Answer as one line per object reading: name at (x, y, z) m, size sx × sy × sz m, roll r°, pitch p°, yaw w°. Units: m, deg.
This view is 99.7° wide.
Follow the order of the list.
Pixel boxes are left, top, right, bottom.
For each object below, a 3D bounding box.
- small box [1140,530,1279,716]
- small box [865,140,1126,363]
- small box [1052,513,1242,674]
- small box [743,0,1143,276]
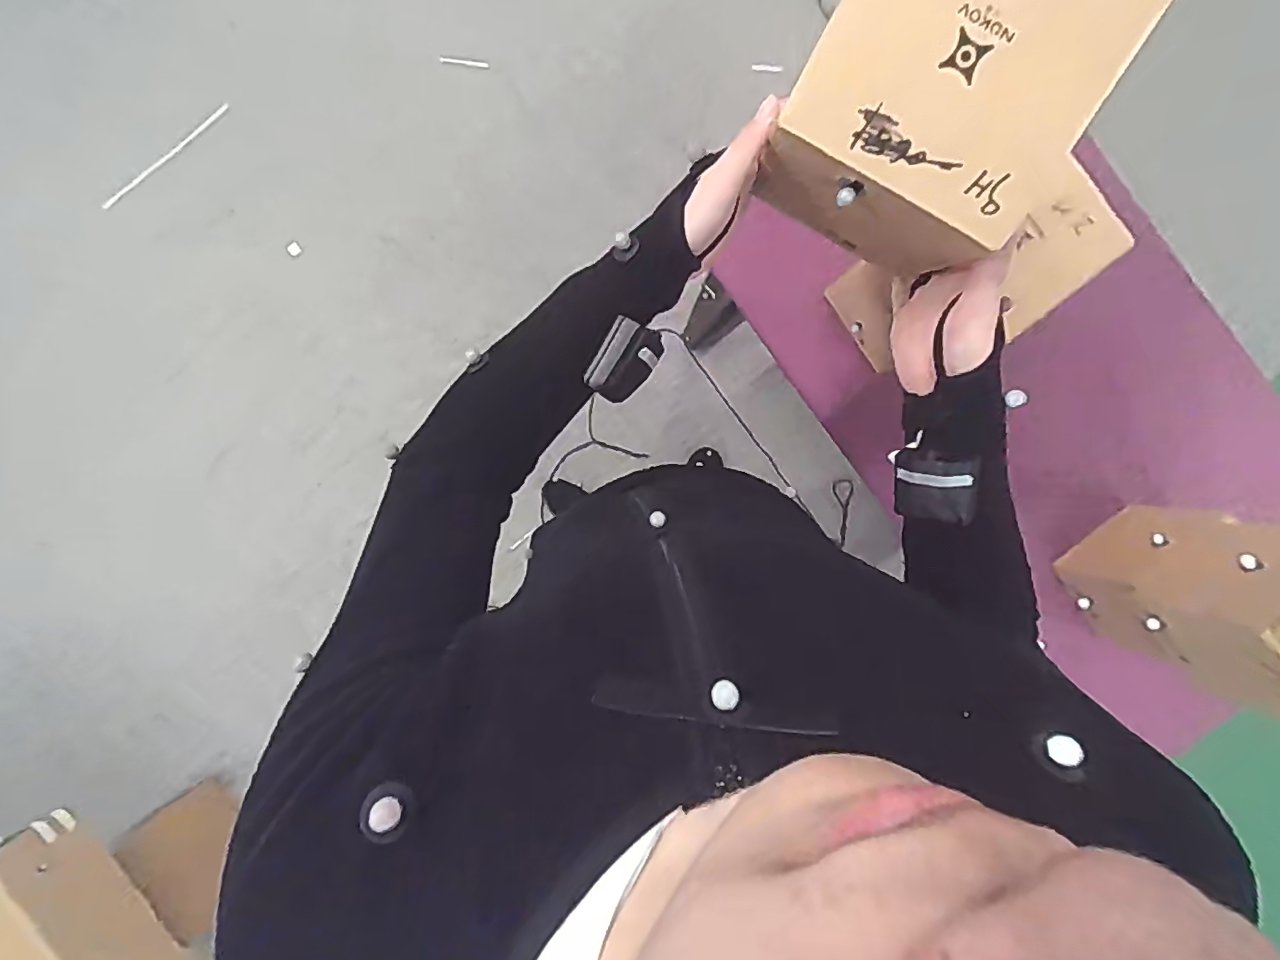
small box at (0.797, 0.181, 0.682) m, size 0.179 × 0.176 × 0.168 m, roll -38°, pitch 91°, yaw -1°
small box at (0.403, -0.264, 0.656) m, size 0.179 × 0.176 × 0.168 m, roll -38°, pitch 93°, yaw 2°
small box at (0.811, 0.166, 0.845) m, size 0.179 × 0.176 × 0.168 m, roll -36°, pitch 91°, yaw 1°
small box at (0.189, -0.274, 0.396) m, size 0.168 × 0.176 × 0.179 m, roll 28°, pitch 105°, yaw -2°
